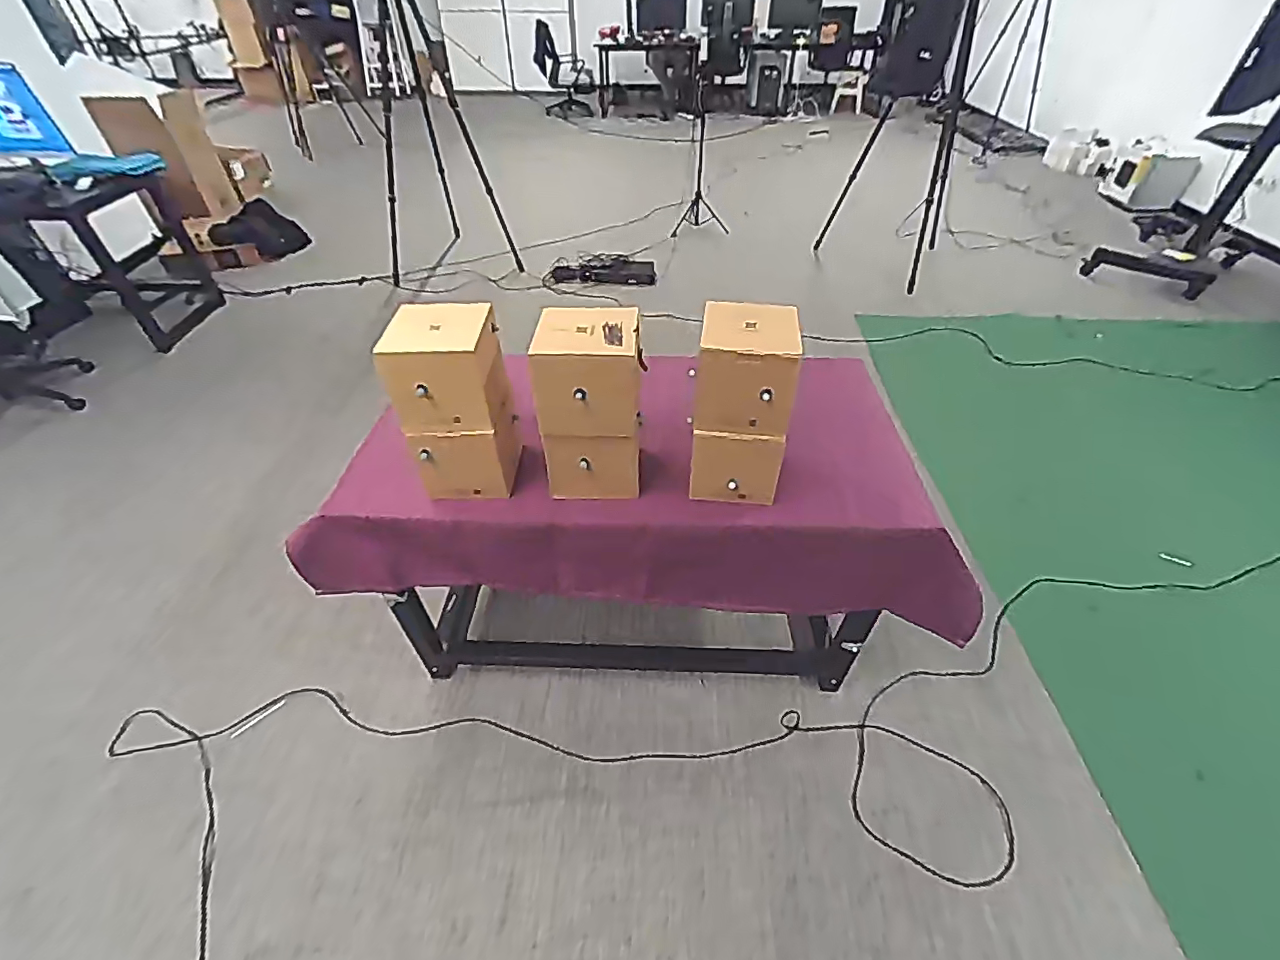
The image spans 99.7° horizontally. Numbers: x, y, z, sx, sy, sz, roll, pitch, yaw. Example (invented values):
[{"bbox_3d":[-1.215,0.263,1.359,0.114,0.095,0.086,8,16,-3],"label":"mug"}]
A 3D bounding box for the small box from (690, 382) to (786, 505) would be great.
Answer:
[{"bbox_3d":[0.189,-0.074,1.076,0.168,0.176,0.179,4,43,6],"label":"small box"}]

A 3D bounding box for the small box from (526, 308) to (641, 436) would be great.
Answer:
[{"bbox_3d":[-0.089,-0.190,0.967,0.179,0.176,0.168,0,43,3],"label":"small box"}]

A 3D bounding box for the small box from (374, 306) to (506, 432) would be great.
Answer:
[{"bbox_3d":[-0.349,-0.199,0.986,0.168,0.176,0.179,-2,42,-1],"label":"small box"}]

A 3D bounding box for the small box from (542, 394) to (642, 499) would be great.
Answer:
[{"bbox_3d":[-0.088,-0.075,1.085,0.179,0.176,0.168,0,44,2],"label":"small box"}]
